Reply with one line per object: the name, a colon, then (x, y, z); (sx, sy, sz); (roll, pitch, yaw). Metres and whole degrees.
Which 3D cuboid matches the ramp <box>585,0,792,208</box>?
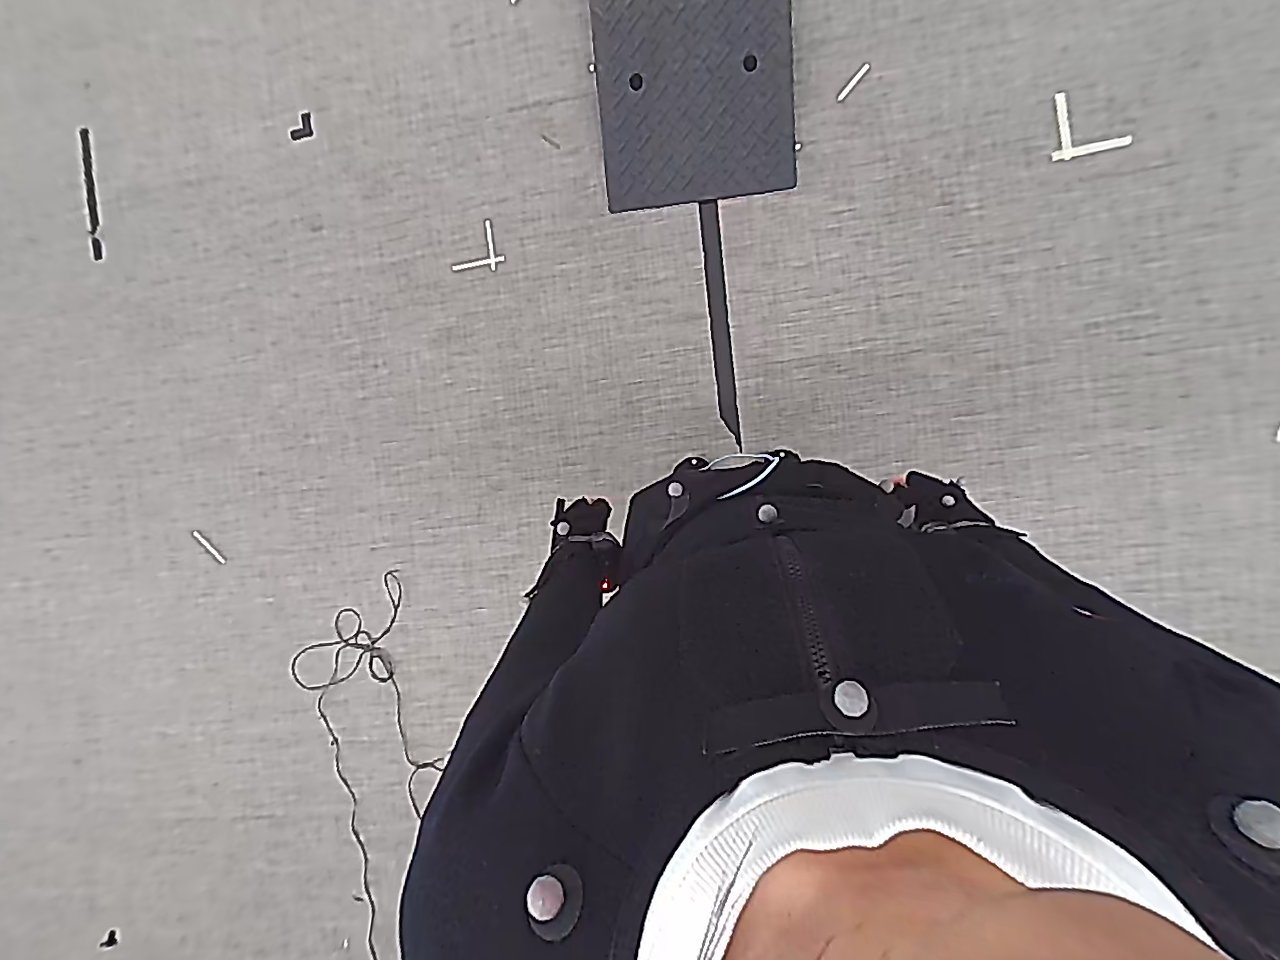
ramp: (0.103, -1.228, 1.307); (0.509, 0.206, 0.991); (-6, 93, 7)
